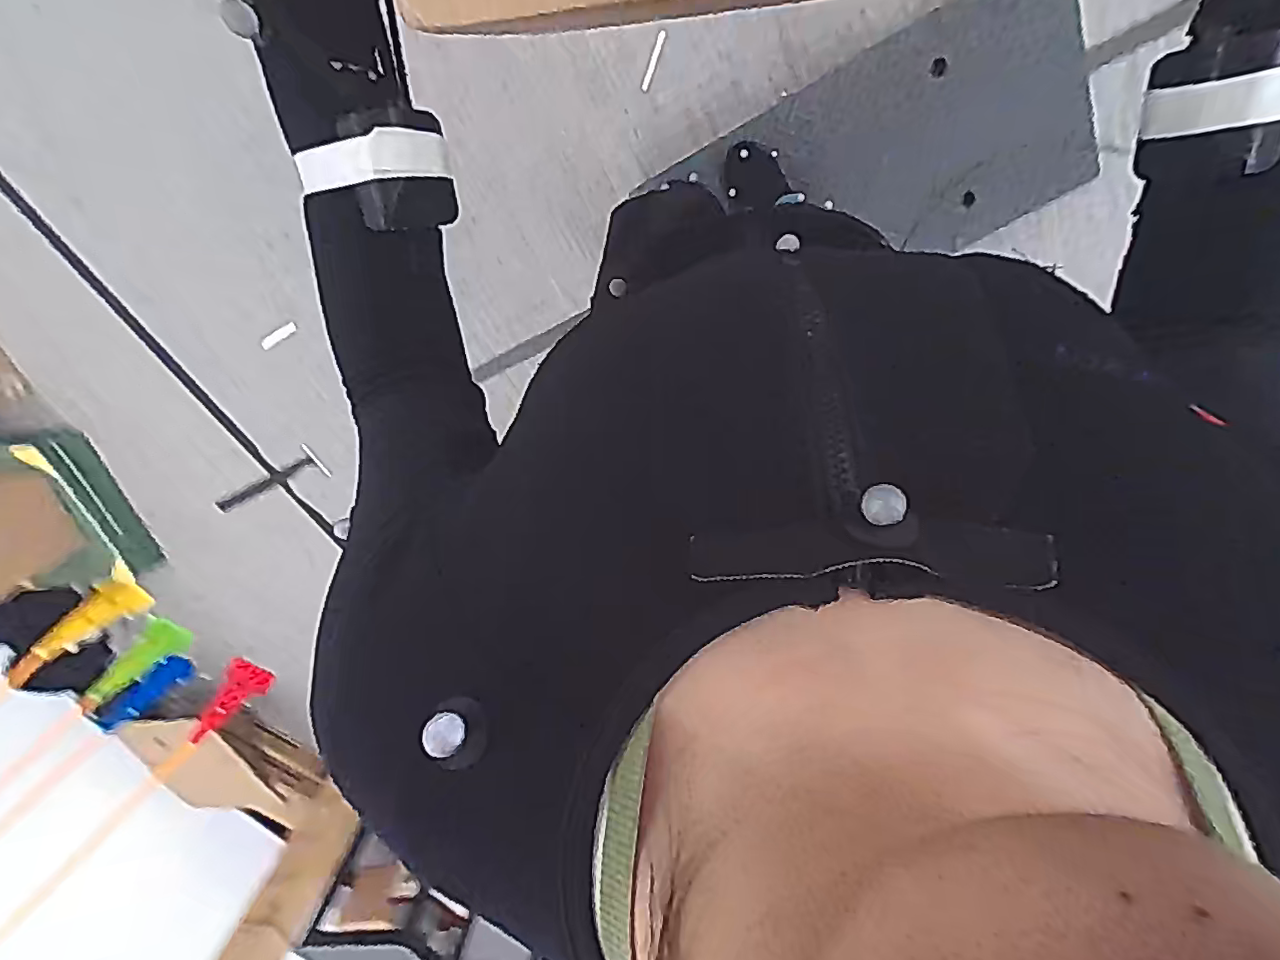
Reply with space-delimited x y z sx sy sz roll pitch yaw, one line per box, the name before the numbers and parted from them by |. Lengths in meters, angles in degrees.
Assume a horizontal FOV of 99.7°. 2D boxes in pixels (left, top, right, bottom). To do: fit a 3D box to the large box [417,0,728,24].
large box | 0.074 -0.470 0.293 0.408 0.320 0.320 -1 129 6
